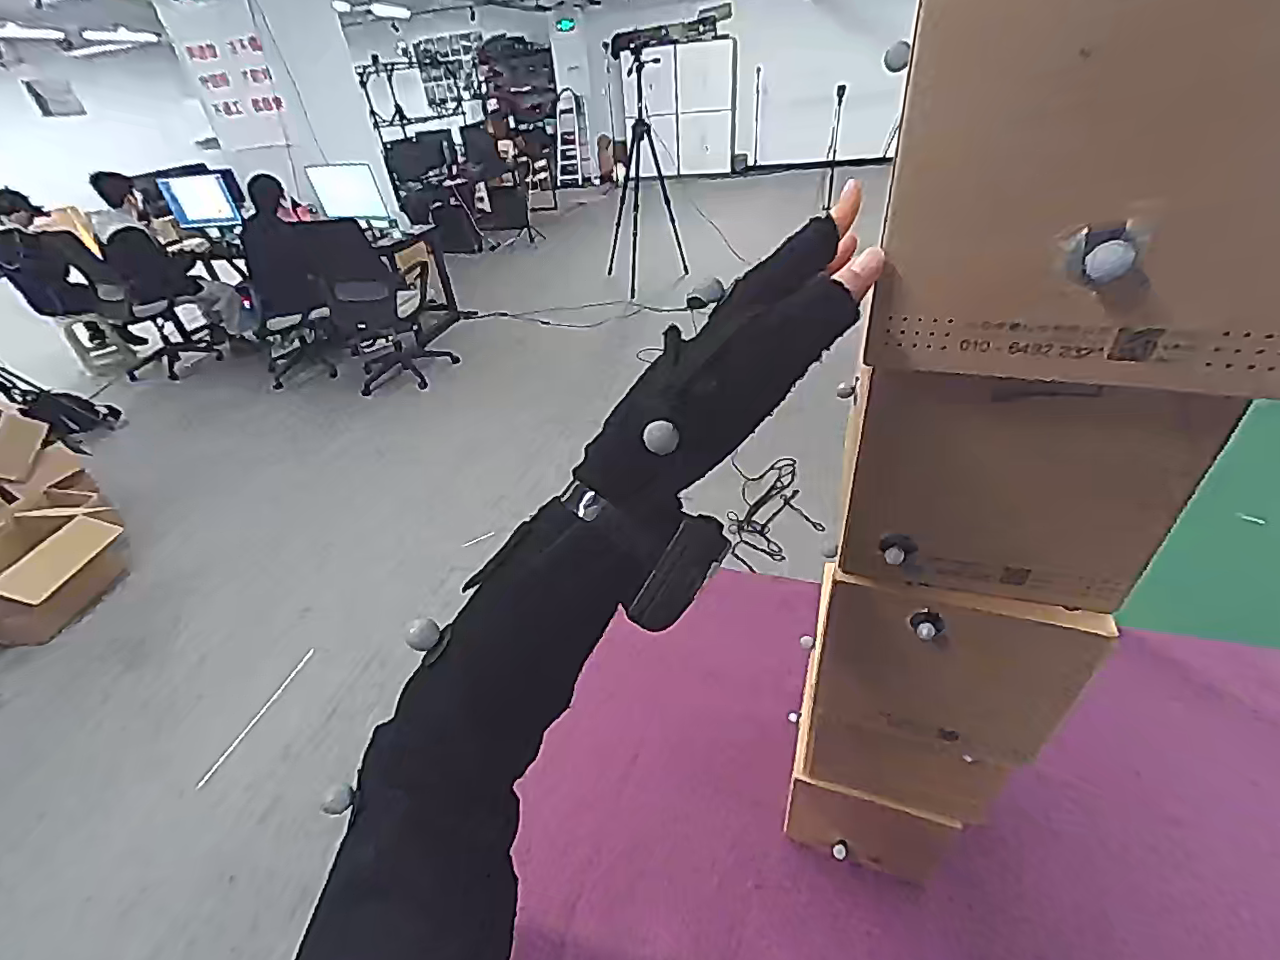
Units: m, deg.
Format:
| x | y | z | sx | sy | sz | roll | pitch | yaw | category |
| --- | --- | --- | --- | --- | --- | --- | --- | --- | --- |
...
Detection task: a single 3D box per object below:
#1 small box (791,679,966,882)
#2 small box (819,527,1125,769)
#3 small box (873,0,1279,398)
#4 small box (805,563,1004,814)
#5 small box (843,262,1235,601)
| x | y | z | sx | sy | sz | roll | pitch | yaw | category |
| --- | --- | --- | --- | --- | --- | --- | --- | --- | --- |
| 0.283 | 0.345 | 0.667 | 0.168 | 0.176 | 0.179 | 8 | 40 | 20 | small box |
| 0.252 | 0.098 | 0.456 | 0.168 | 0.176 | 0.179 | 9 | 38 | 21 | small box |
| 0.214 | -0.158 | 0.253 | 0.168 | 0.176 | 0.179 | 10 | 40 | 22 | small box |
| 0.275 | 0.216 | 0.571 | 0.179 | 0.176 | 0.168 | 7 | 39 | 19 | small box |
| 0.237 | -0.043 | 0.370 | 0.168 | 0.176 | 0.179 | 6 | 37 | 18 | small box |
